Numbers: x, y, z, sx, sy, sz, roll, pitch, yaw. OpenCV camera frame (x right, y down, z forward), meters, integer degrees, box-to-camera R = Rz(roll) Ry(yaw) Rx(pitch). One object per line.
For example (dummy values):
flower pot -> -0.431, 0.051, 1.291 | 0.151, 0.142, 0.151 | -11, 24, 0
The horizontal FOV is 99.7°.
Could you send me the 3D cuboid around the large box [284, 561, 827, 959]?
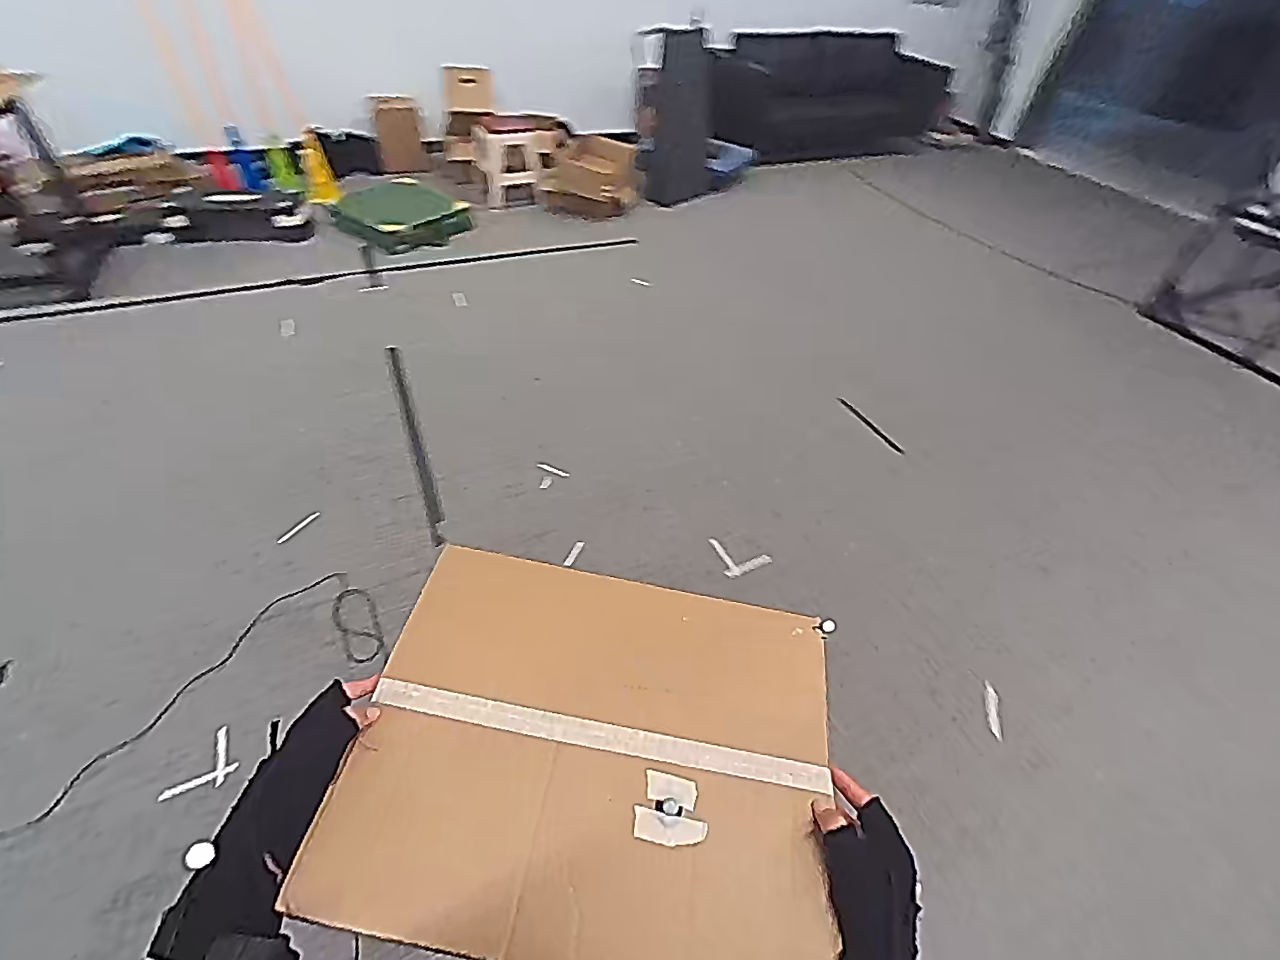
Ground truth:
large box -> -0.059, 0.327, 0.592 | 0.408, 0.320, 0.320 | 11, 50, 0
